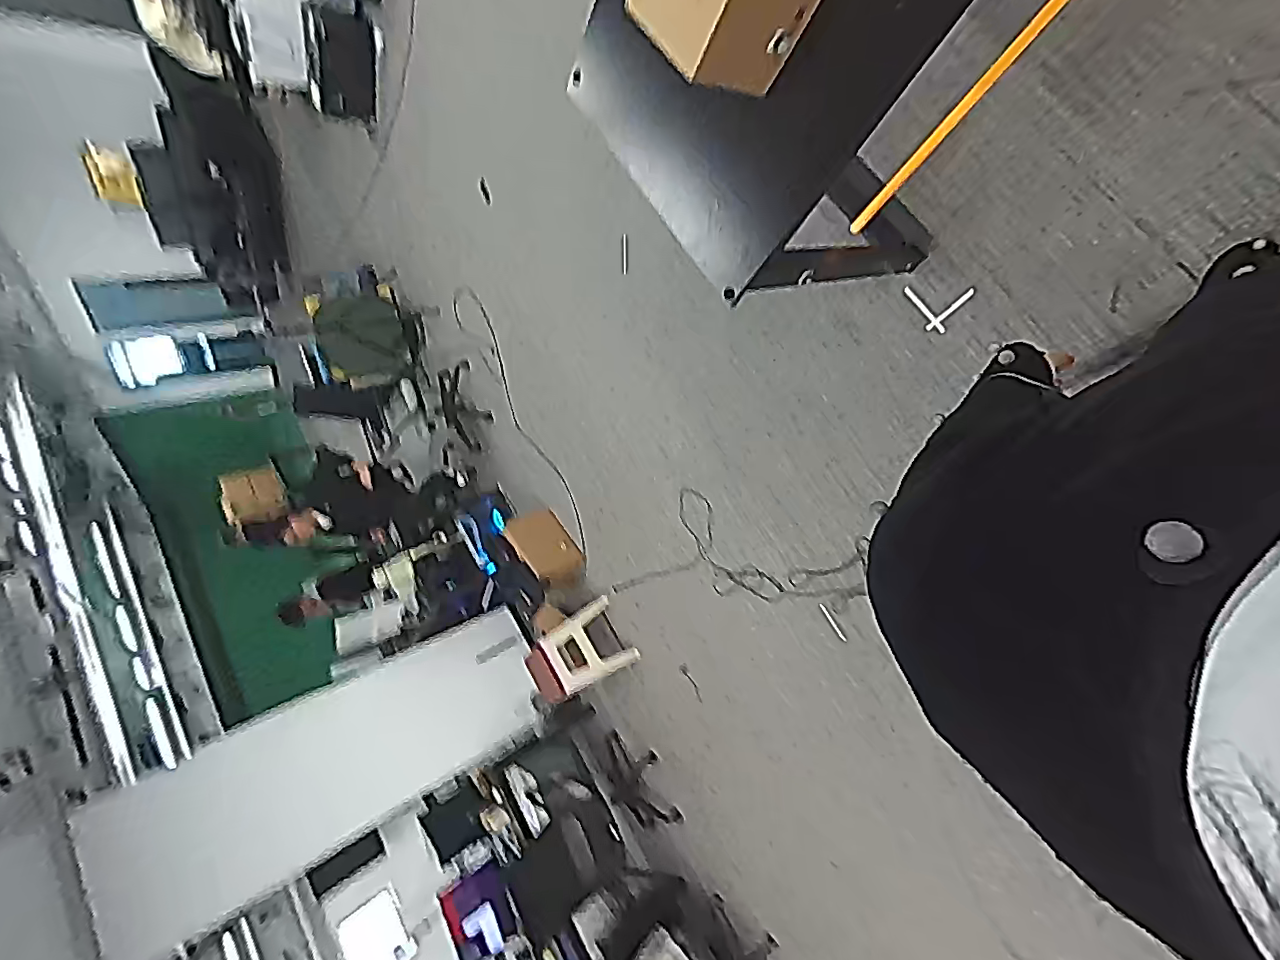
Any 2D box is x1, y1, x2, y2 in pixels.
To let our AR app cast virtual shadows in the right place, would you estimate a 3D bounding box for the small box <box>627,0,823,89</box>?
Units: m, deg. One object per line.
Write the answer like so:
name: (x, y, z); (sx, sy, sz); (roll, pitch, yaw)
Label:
small box: (0.119, -0.660, 0.723); (0.179, 0.176, 0.168); (56, 143, 15)
